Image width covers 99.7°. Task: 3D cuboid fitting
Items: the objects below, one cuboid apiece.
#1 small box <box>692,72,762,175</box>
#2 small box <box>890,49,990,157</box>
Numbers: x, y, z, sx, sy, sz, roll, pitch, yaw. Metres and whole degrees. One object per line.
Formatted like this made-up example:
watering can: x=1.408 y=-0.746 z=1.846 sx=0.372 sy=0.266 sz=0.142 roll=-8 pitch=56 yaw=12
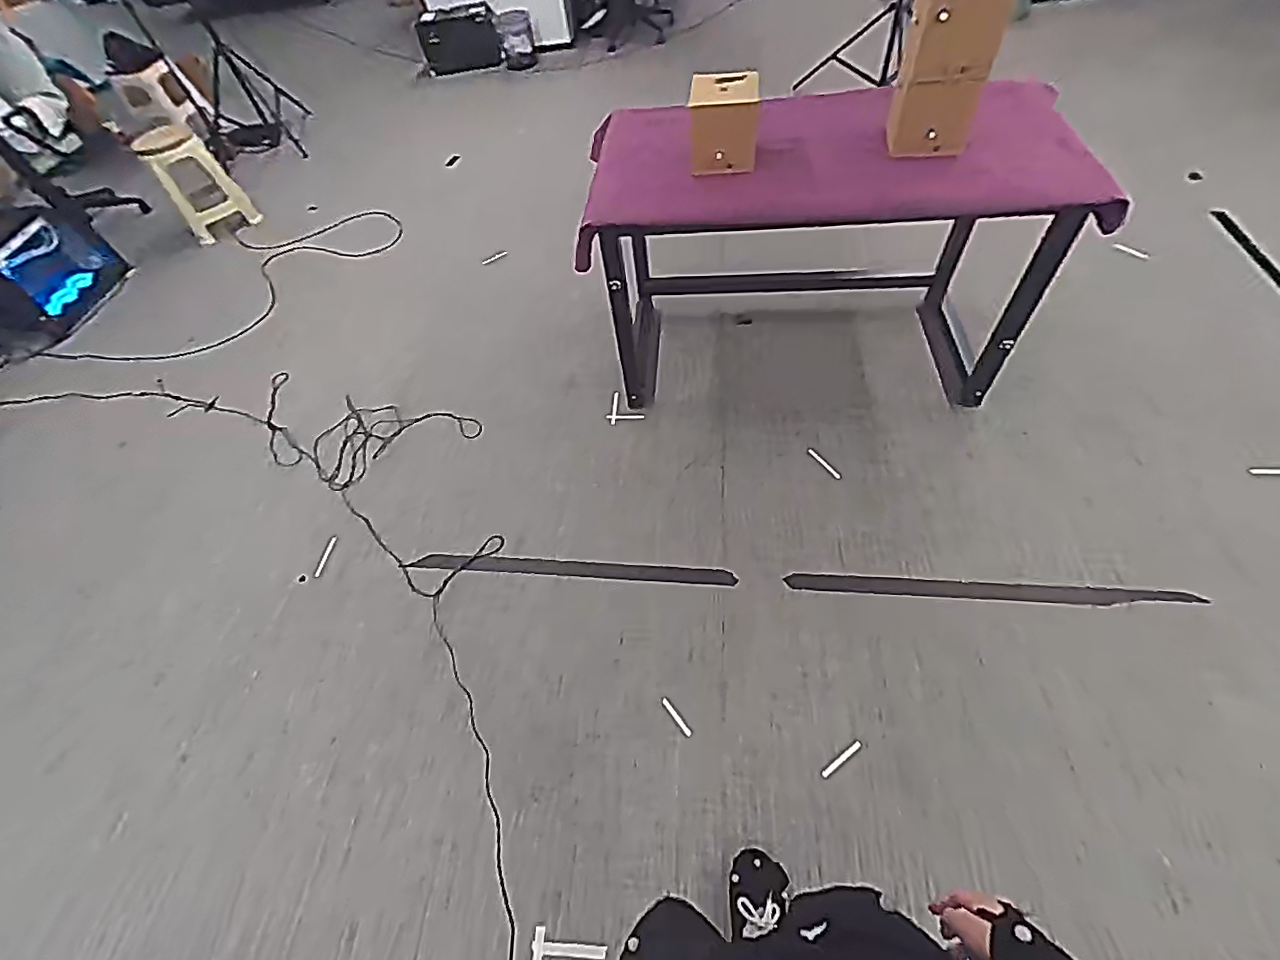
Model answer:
small box: x=0.221 y=-0.911 z=1.388 sx=0.168 sy=0.176 sz=0.179 roll=2 pitch=57 yaw=9
small box: x=0.725 y=-0.923 z=1.328 sx=0.168 sy=0.176 sz=0.179 roll=5 pitch=56 yaw=12
